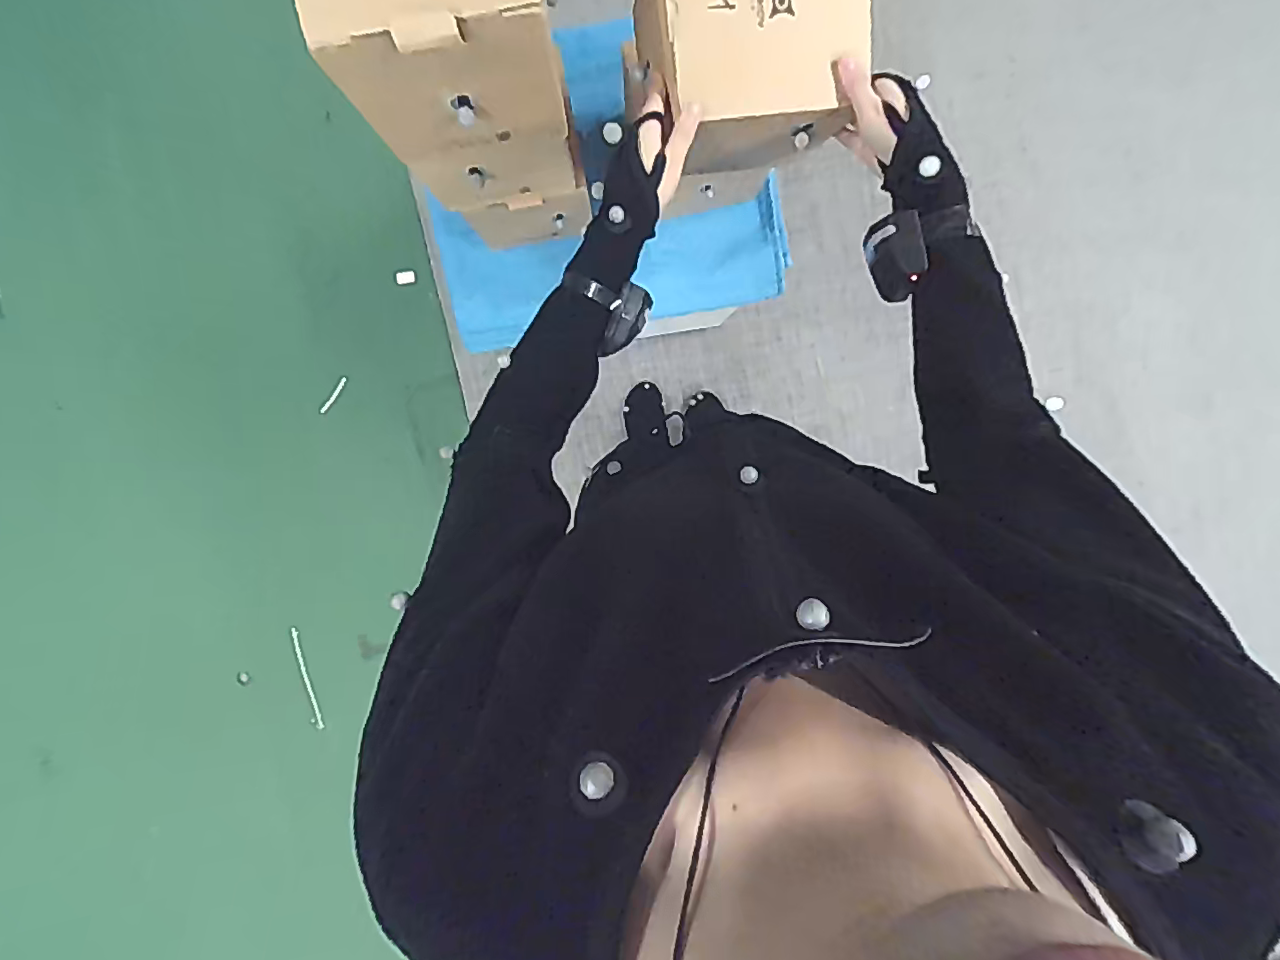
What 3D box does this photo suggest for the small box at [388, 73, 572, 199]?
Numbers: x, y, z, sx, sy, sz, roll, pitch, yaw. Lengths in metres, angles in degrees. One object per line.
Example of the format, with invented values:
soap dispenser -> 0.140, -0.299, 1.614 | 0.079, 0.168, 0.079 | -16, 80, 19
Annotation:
small box -> -0.172, -0.428, 0.588 | 0.168, 0.176, 0.179 | -8, 96, -1

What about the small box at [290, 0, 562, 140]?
small box -> -0.161, -0.399, 0.427 | 0.168, 0.176, 0.179 | -9, 97, -1

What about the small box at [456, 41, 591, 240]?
small box -> -0.165, -0.450, 0.749 | 0.168, 0.176, 0.179 | -10, 97, -1
